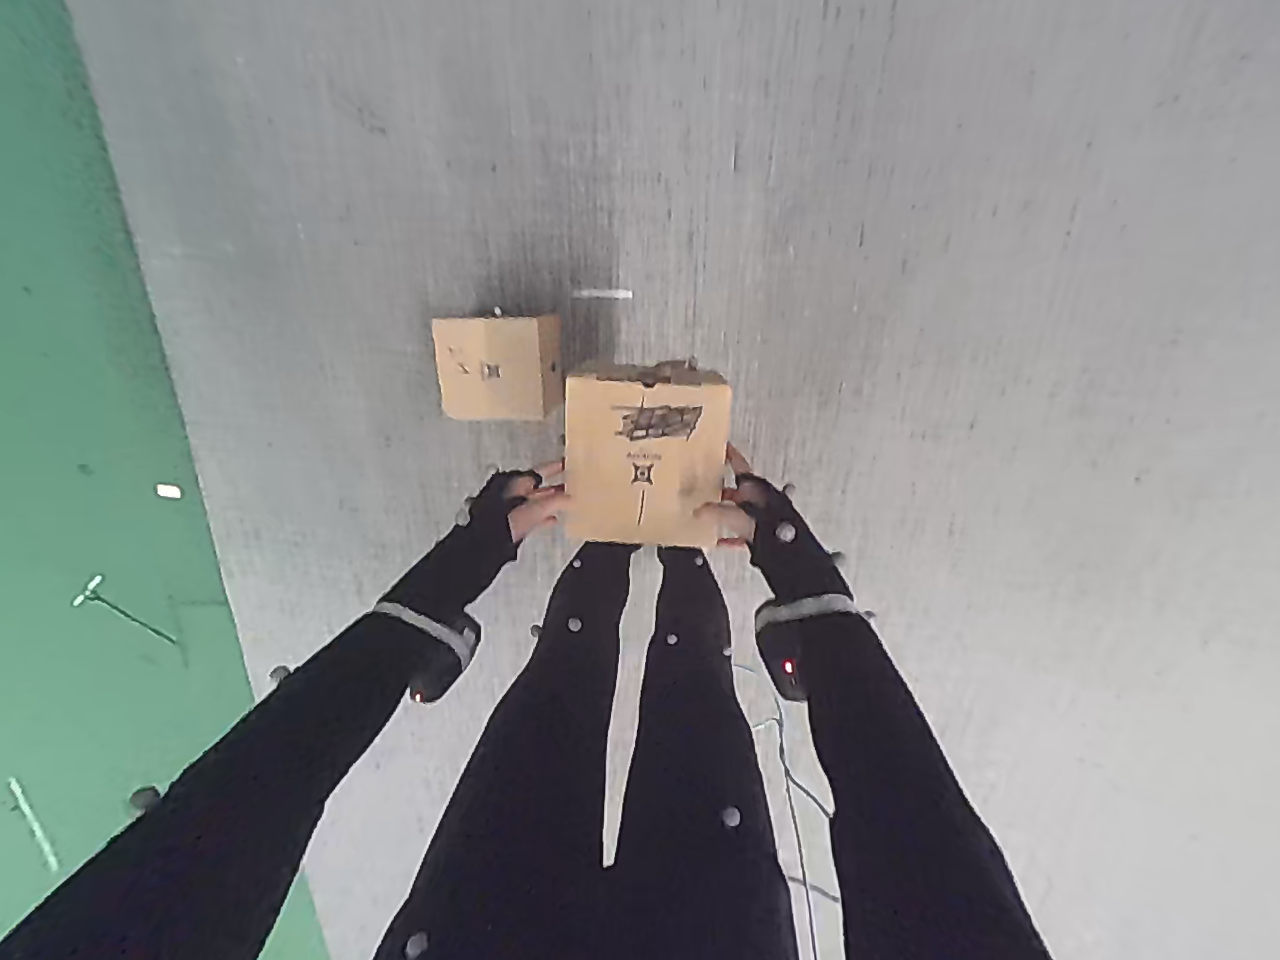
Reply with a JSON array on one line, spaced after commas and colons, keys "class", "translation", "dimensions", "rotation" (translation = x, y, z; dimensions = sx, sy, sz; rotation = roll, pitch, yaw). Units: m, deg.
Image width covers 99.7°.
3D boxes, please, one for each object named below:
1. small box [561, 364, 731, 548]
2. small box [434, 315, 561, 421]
[{"class": "small box", "translation": [0.005, -0.038, 0.626], "dimensions": [0.168, 0.176, 0.179], "rotation": [4, 107, 2]}, {"class": "small box", "translation": [-0.240, -0.206, 0.964], "dimensions": [0.179, 0.176, 0.168], "rotation": [2, 109, 5]}]
